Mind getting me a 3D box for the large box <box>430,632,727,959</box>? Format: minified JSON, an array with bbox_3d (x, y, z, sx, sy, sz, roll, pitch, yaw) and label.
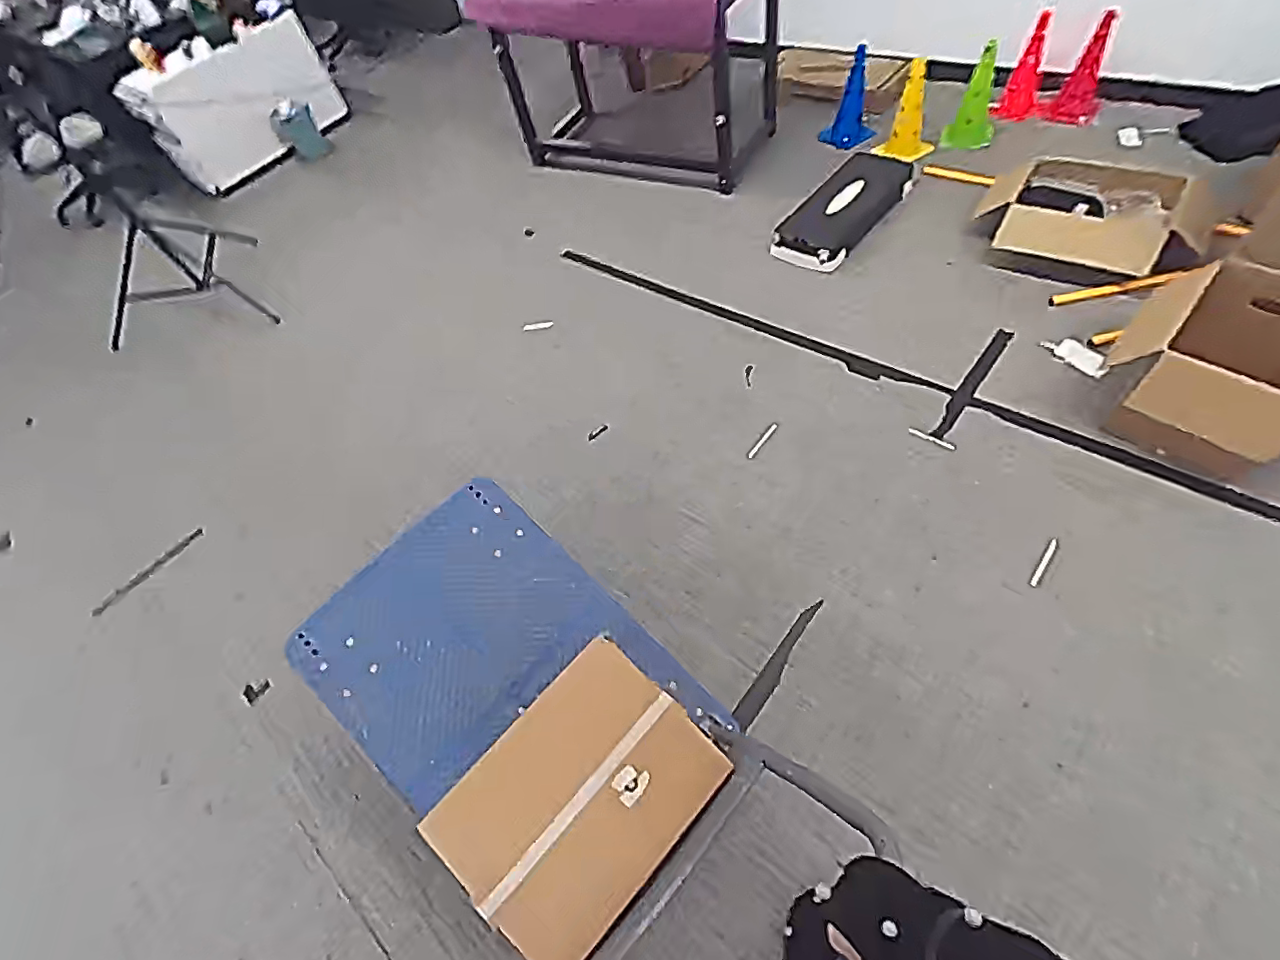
[{"bbox_3d":[-0.105,0.555,1.018,0.320,0.320,0.408,42,71,9],"label":"large box"}]
